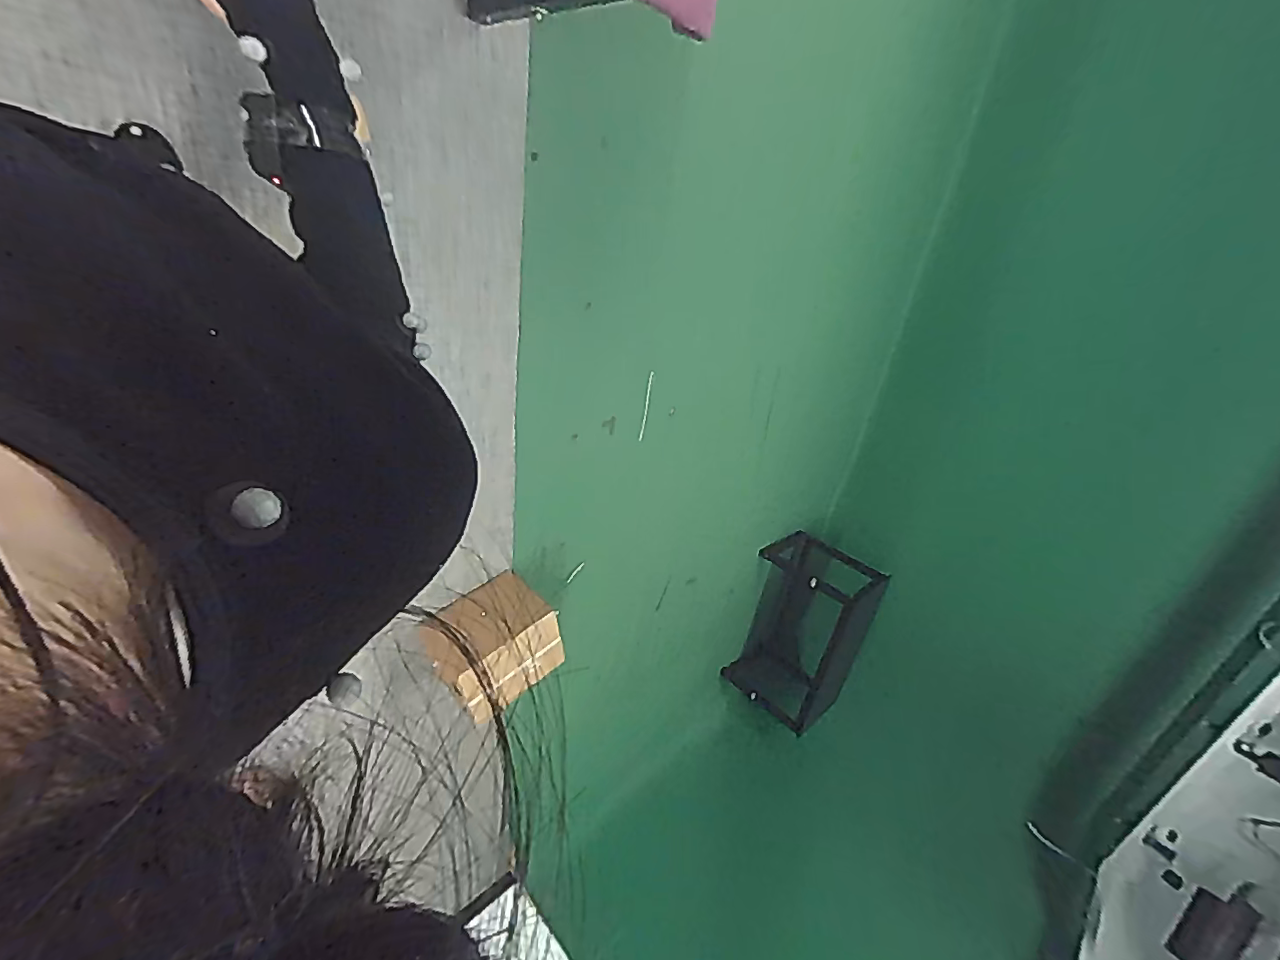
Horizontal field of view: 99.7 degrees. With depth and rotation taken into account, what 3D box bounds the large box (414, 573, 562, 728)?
[{"bbox_3d":[-0.566,0.631,2.053,0.408,0.320,0.320,-32,136,-34],"label":"large box"}]
